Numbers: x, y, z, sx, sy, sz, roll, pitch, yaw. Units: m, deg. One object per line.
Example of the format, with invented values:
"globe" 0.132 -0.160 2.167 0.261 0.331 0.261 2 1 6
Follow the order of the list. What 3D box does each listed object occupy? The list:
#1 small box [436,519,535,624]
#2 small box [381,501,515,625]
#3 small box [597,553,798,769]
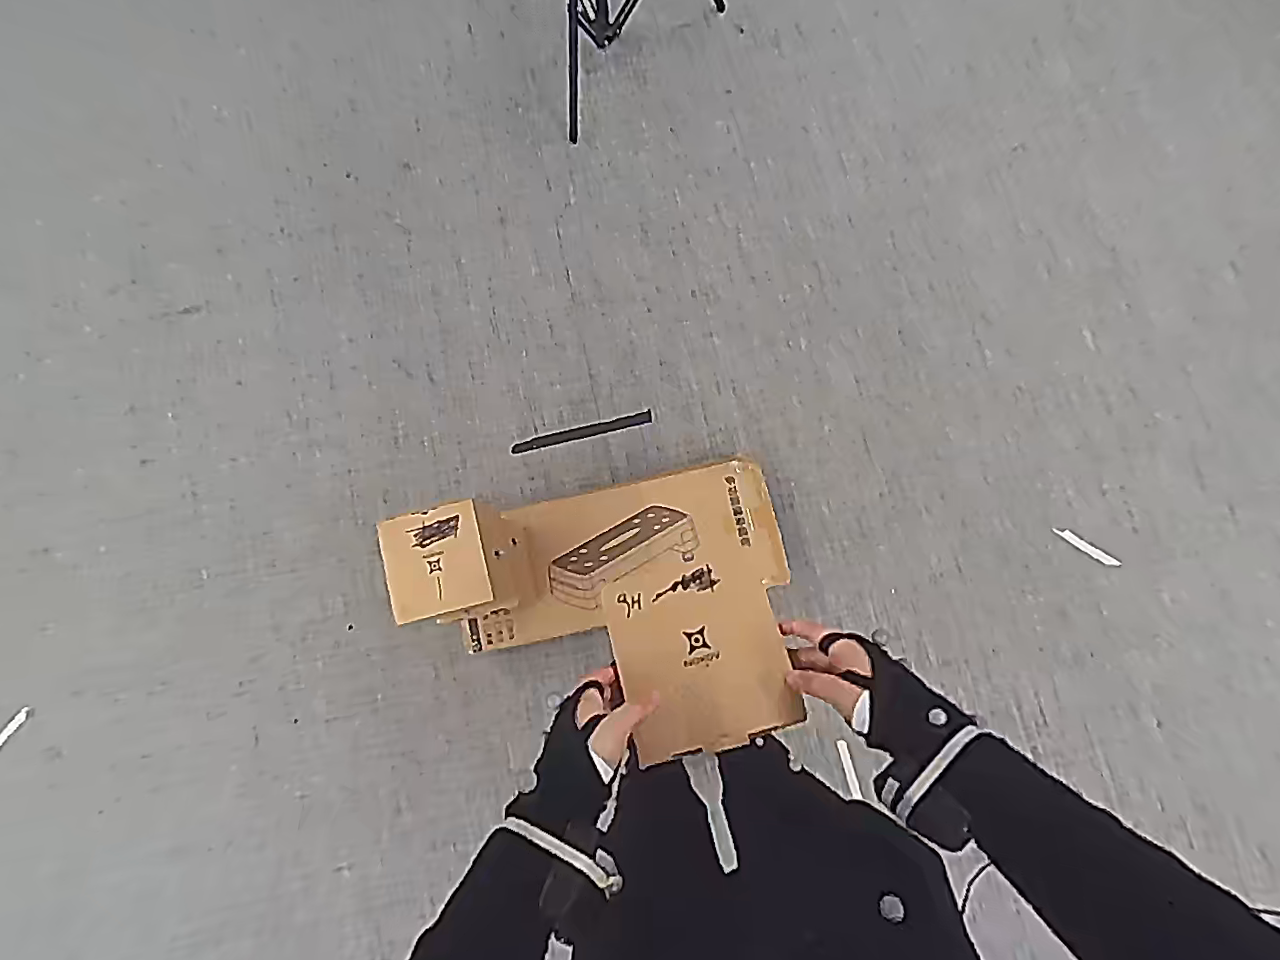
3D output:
"small box" -0.328 0.192 1.131 0.168 0.176 0.179 -13 81 -1
"small box" -0.336 0.150 0.972 0.168 0.176 0.179 -14 81 -2
"small box" 0.060 0.198 0.611 0.168 0.176 0.179 -15 70 -1
